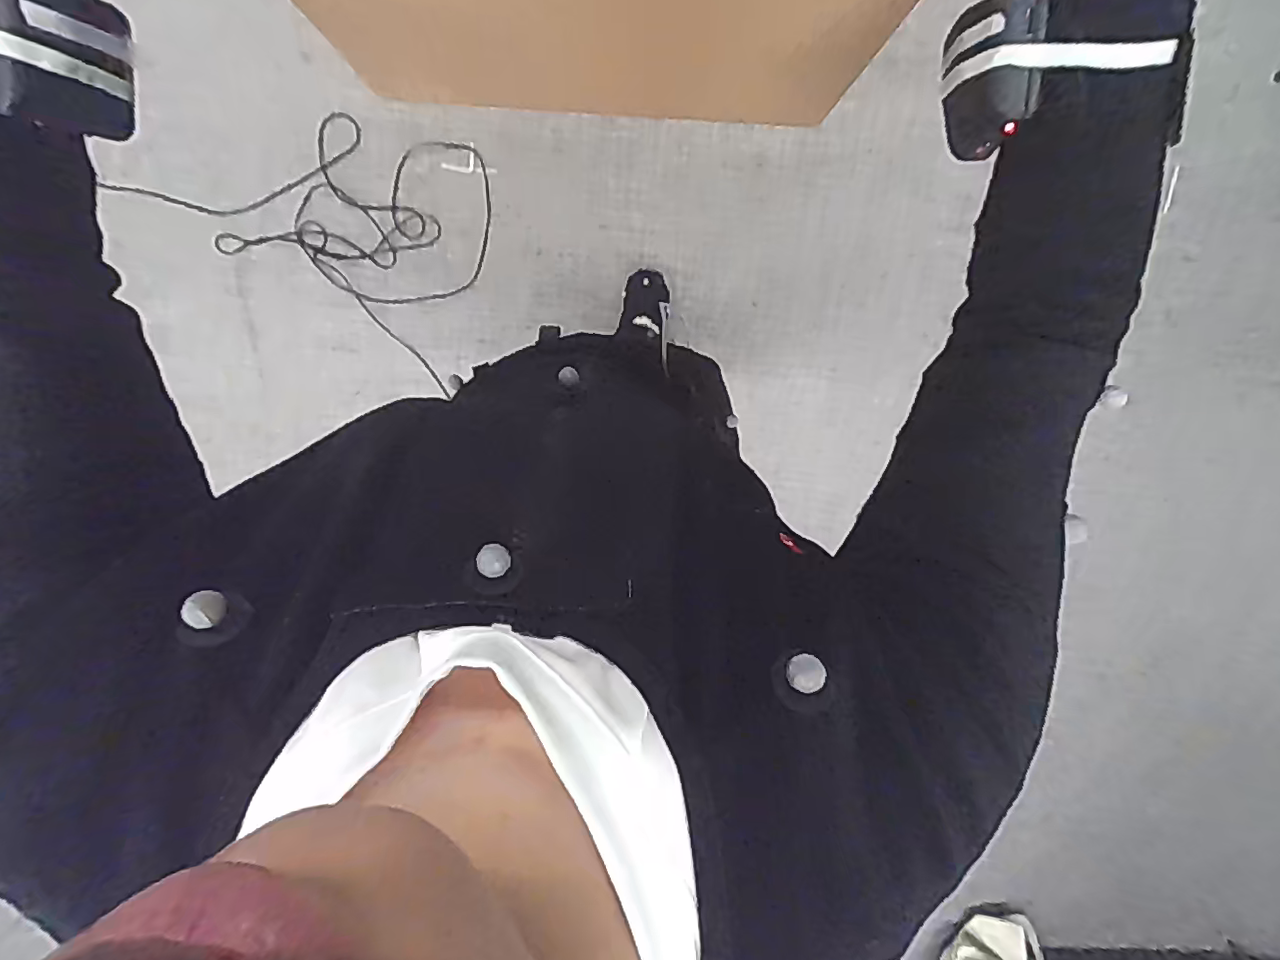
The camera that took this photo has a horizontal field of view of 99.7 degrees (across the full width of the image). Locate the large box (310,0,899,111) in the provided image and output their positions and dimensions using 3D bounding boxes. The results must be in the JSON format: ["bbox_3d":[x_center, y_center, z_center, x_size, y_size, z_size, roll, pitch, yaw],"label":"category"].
[{"bbox_3d":[-0.023,-0.461,0.318,0.408,0.320,0.320,1,102,-3],"label":"large box"}]
